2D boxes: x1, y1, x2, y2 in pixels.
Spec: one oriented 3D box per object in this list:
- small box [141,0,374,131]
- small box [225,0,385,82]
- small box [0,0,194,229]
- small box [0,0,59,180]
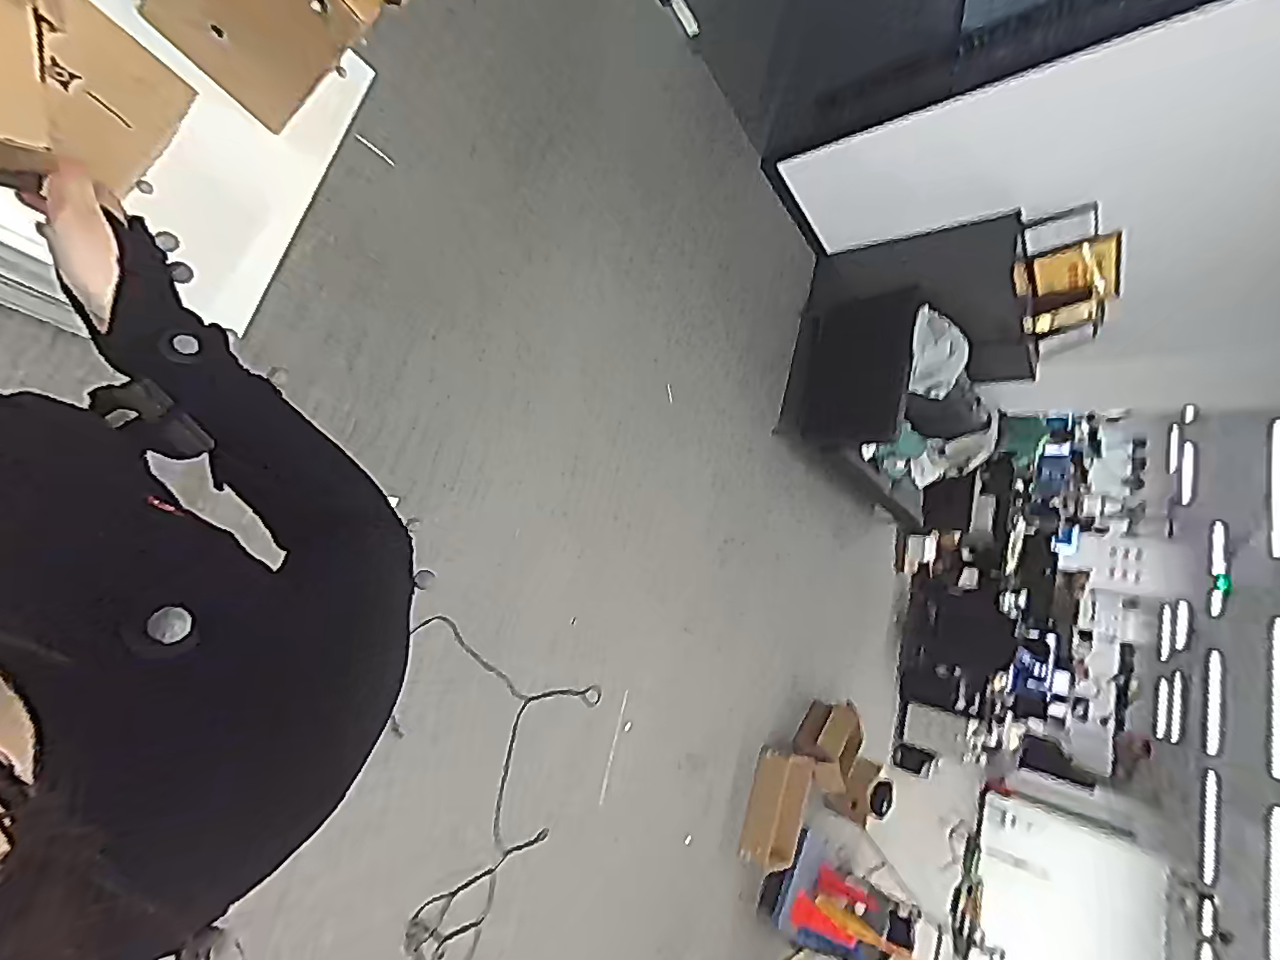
[{"bbox_3d":[-0.499,-0.610,0.707,0.179,0.176,0.168,40,64,-43],"label":"small box"},{"bbox_3d":[-0.380,-0.600,0.597,0.179,0.176,0.168,39,64,-43],"label":"small box"},{"bbox_3d":[-0.631,-0.401,0.568,0.179,0.176,0.168,39,63,-45],"label":"small box"},{"bbox_3d":[-0.410,-0.257,0.248,0.179,0.176,0.168,-8,106,-48],"label":"small box"}]
